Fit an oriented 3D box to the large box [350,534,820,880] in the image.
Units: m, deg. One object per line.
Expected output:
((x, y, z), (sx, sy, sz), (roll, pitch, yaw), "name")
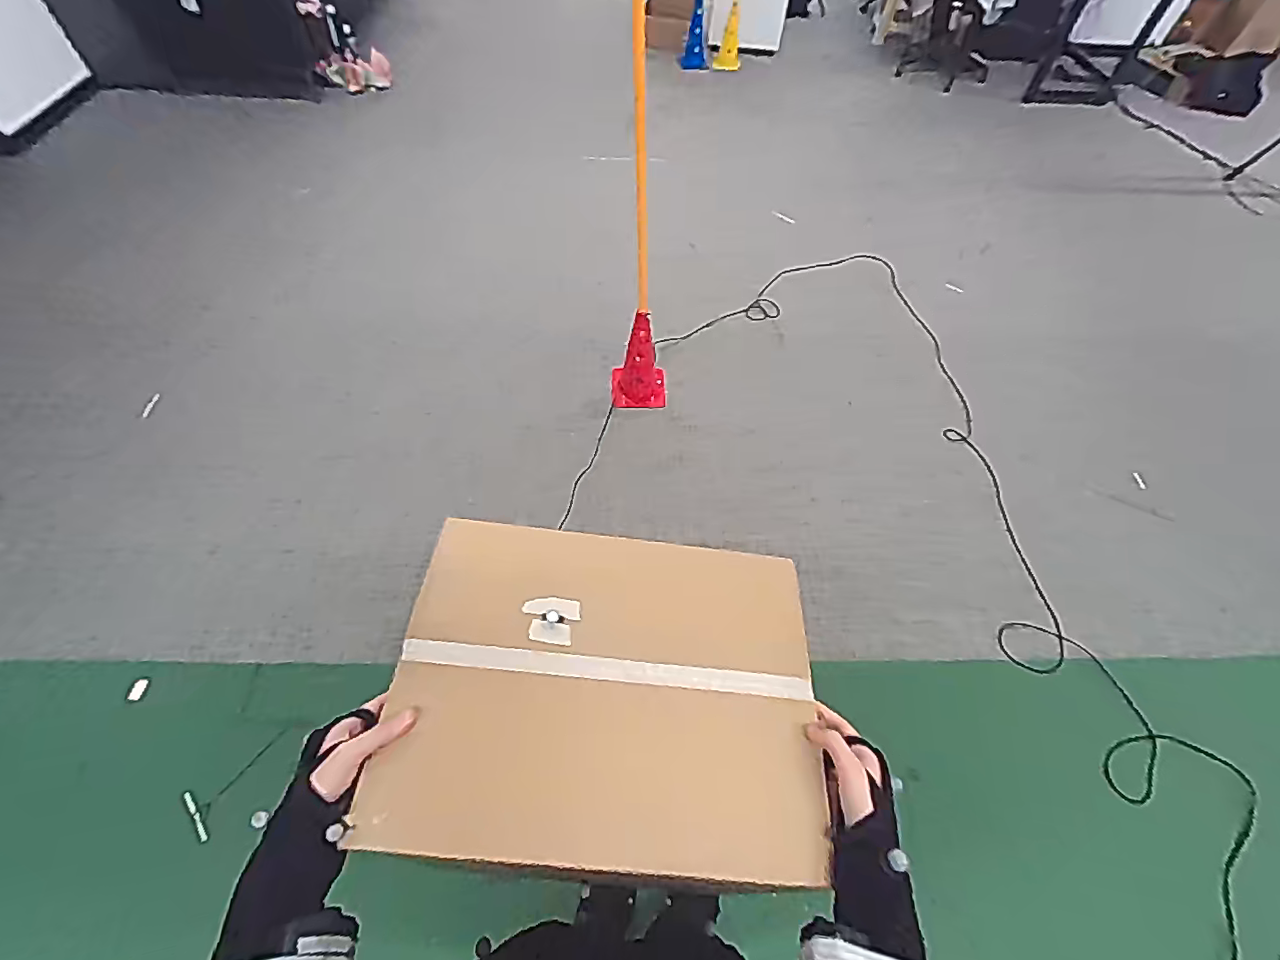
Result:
((-0.050, 0.290, 0.659), (0.408, 0.320, 0.320), (6, 51, -3), "large box")
